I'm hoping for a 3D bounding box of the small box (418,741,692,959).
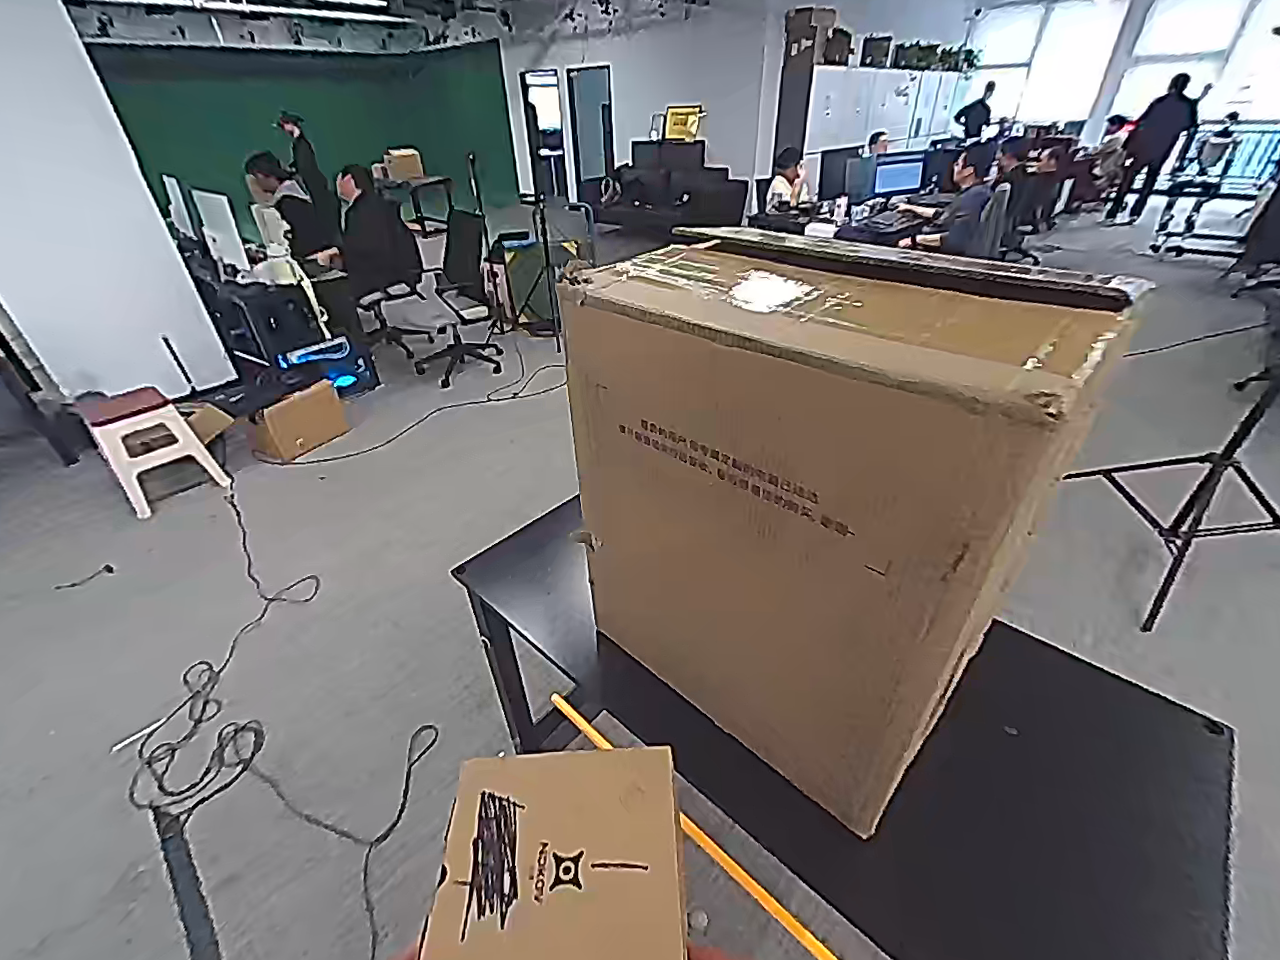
[{"bbox_3d":[-0.050,0.334,0.434,0.179,0.176,0.168,-4,38,2],"label":"small box"}]
